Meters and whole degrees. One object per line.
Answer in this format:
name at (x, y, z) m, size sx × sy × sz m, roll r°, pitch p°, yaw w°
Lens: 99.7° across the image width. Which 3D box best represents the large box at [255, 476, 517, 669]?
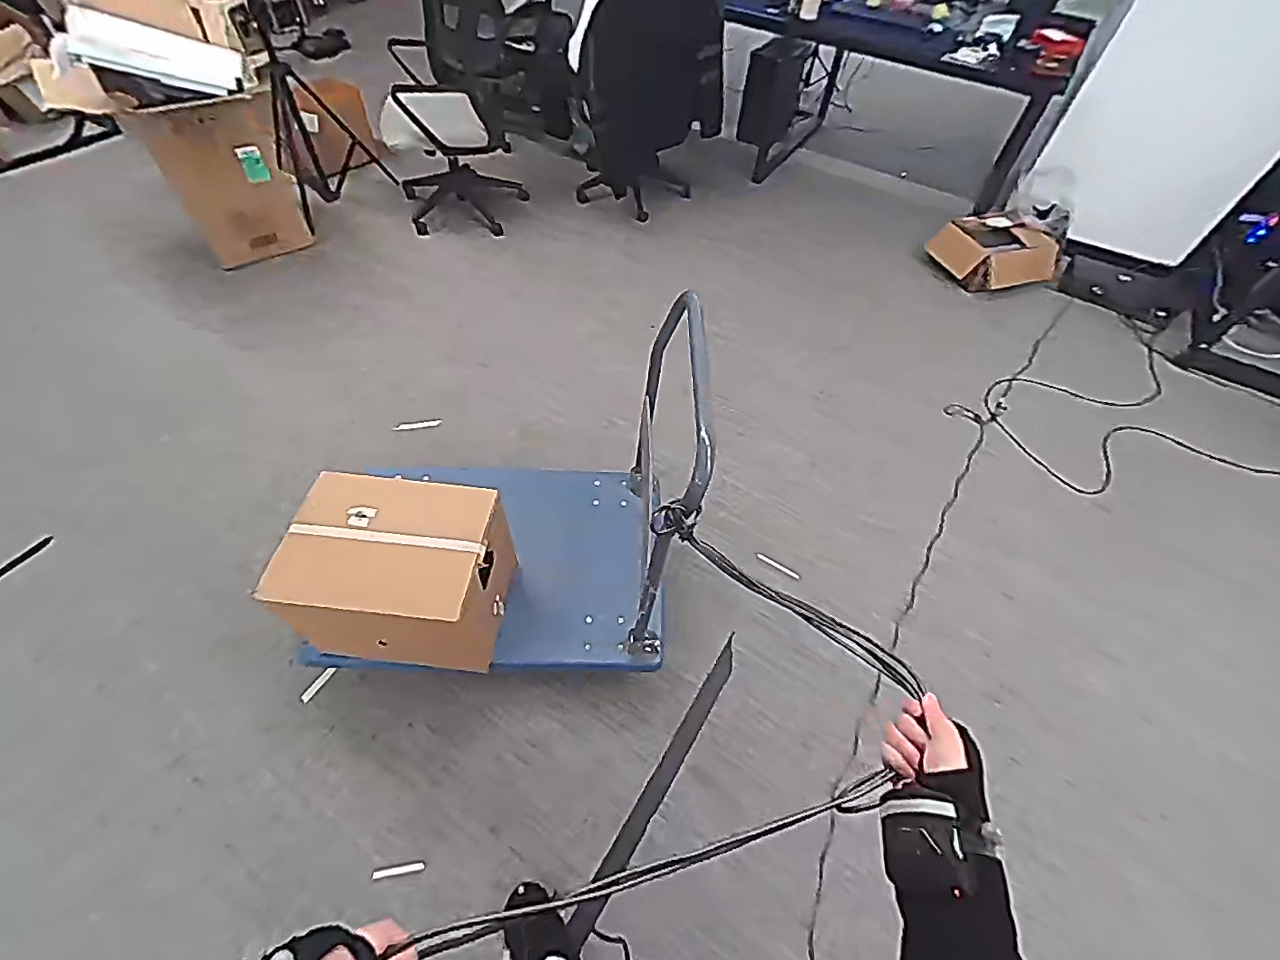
large box at (-0.527, 0.217, 1.229) m, size 0.408 × 0.320 × 0.320 m, roll 6°, pitch 53°, yaw 2°
